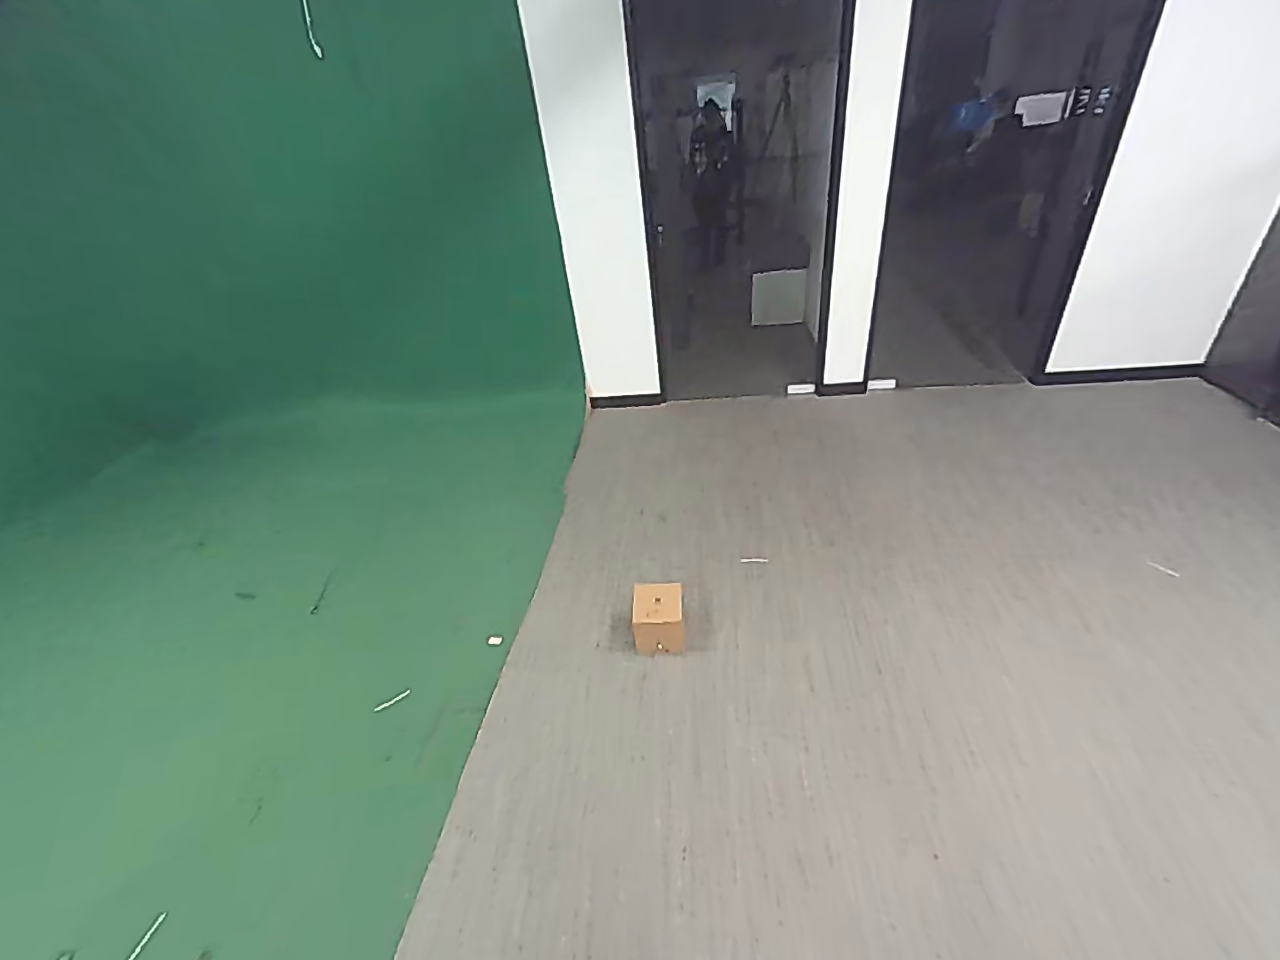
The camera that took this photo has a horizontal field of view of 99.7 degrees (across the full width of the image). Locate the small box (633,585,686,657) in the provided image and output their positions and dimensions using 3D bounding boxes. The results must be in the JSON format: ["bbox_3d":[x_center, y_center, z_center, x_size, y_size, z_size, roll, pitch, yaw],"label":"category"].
[{"bbox_3d":[0.070,0.484,1.858,0.168,0.176,0.179,-4,33,6],"label":"small box"}]
